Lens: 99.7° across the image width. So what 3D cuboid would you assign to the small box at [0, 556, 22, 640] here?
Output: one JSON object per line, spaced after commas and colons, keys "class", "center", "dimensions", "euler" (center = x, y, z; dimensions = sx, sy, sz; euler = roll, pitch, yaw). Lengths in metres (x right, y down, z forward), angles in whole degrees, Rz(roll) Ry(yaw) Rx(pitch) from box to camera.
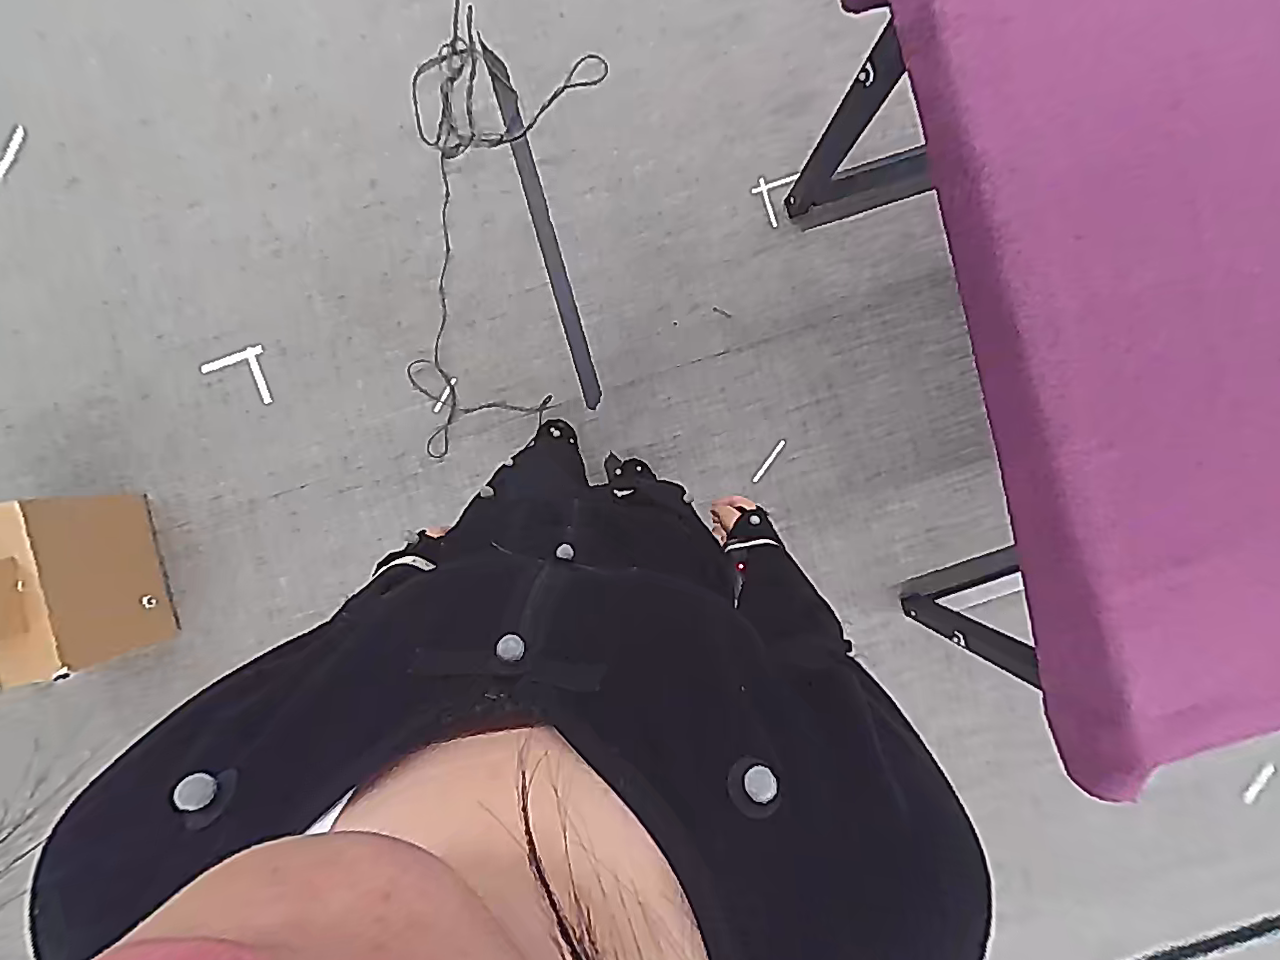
{"class": "small box", "center": [-1.427, 0.264, 1.094], "dimensions": [0.168, 0.176, 0.179], "euler": [-9, 92, -1]}
